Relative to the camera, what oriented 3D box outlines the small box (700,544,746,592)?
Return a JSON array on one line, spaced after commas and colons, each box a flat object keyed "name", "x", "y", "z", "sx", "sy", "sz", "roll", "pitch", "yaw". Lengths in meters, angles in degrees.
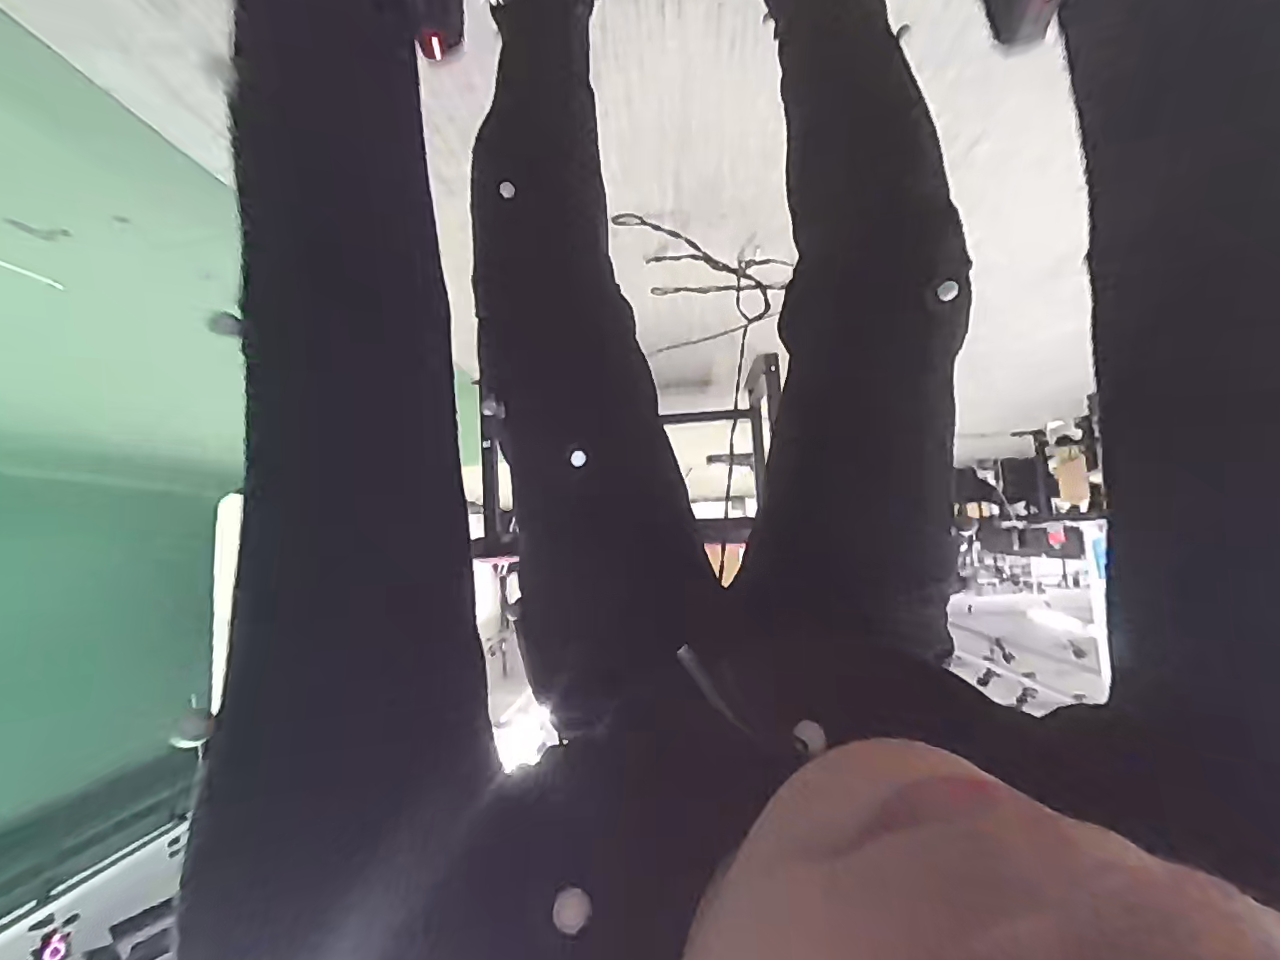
[{"name": "small box", "x": 0.327, "y": 0.348, "z": 2.146, "sx": 0.168, "sy": 0.176, "sz": 0.179, "roll": -4, "pitch": 175, "yaw": 7}]
